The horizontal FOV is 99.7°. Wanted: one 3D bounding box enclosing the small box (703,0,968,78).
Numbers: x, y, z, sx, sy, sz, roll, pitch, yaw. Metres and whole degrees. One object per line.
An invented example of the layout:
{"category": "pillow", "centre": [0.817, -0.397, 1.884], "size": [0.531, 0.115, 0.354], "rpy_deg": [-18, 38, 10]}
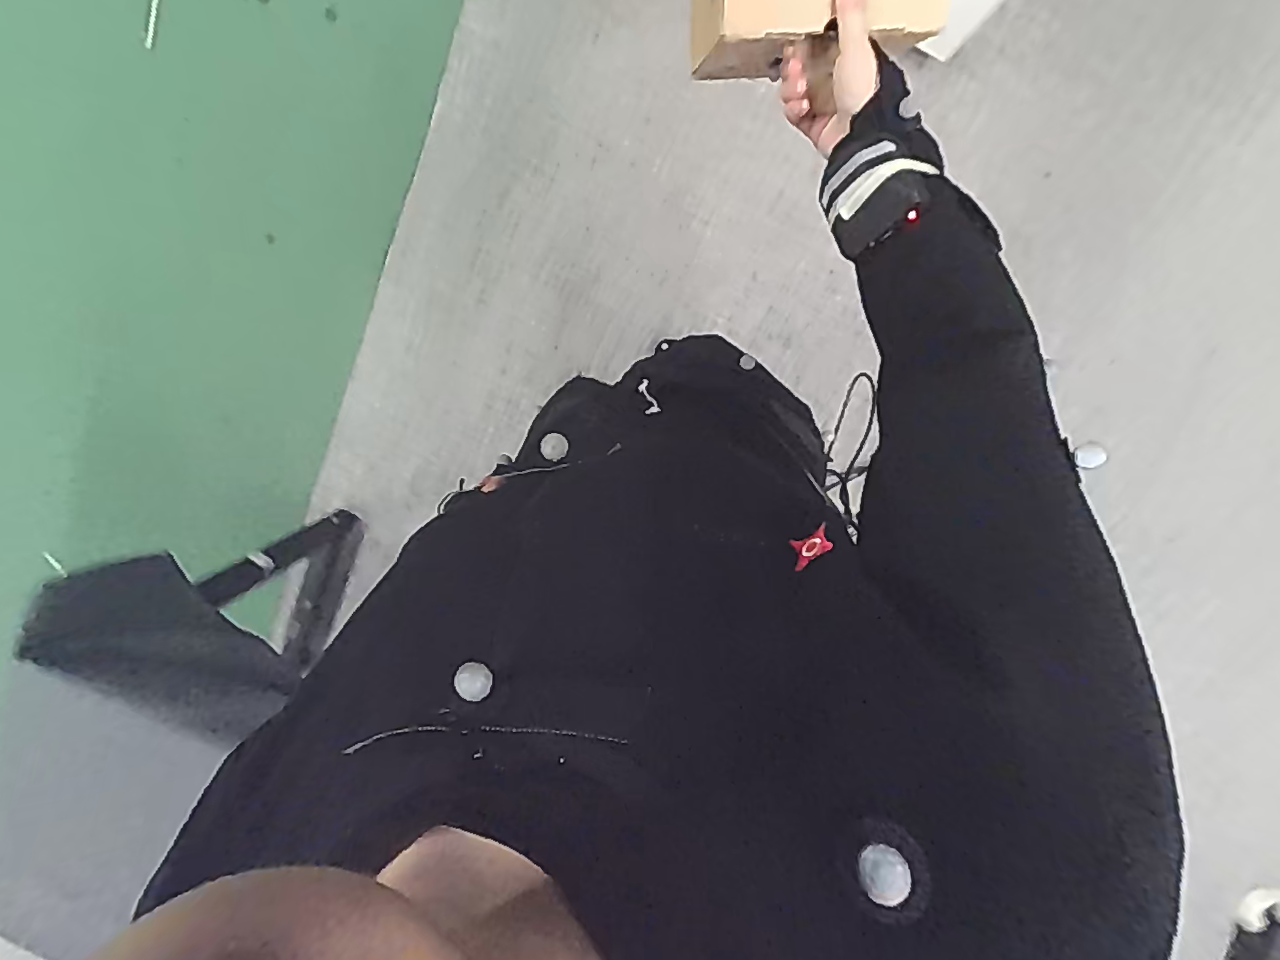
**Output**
{"category": "small box", "centre": [0.144, -0.432, 0.417], "size": [0.168, 0.176, 0.179], "rpy_deg": [-3, 120, -3]}
